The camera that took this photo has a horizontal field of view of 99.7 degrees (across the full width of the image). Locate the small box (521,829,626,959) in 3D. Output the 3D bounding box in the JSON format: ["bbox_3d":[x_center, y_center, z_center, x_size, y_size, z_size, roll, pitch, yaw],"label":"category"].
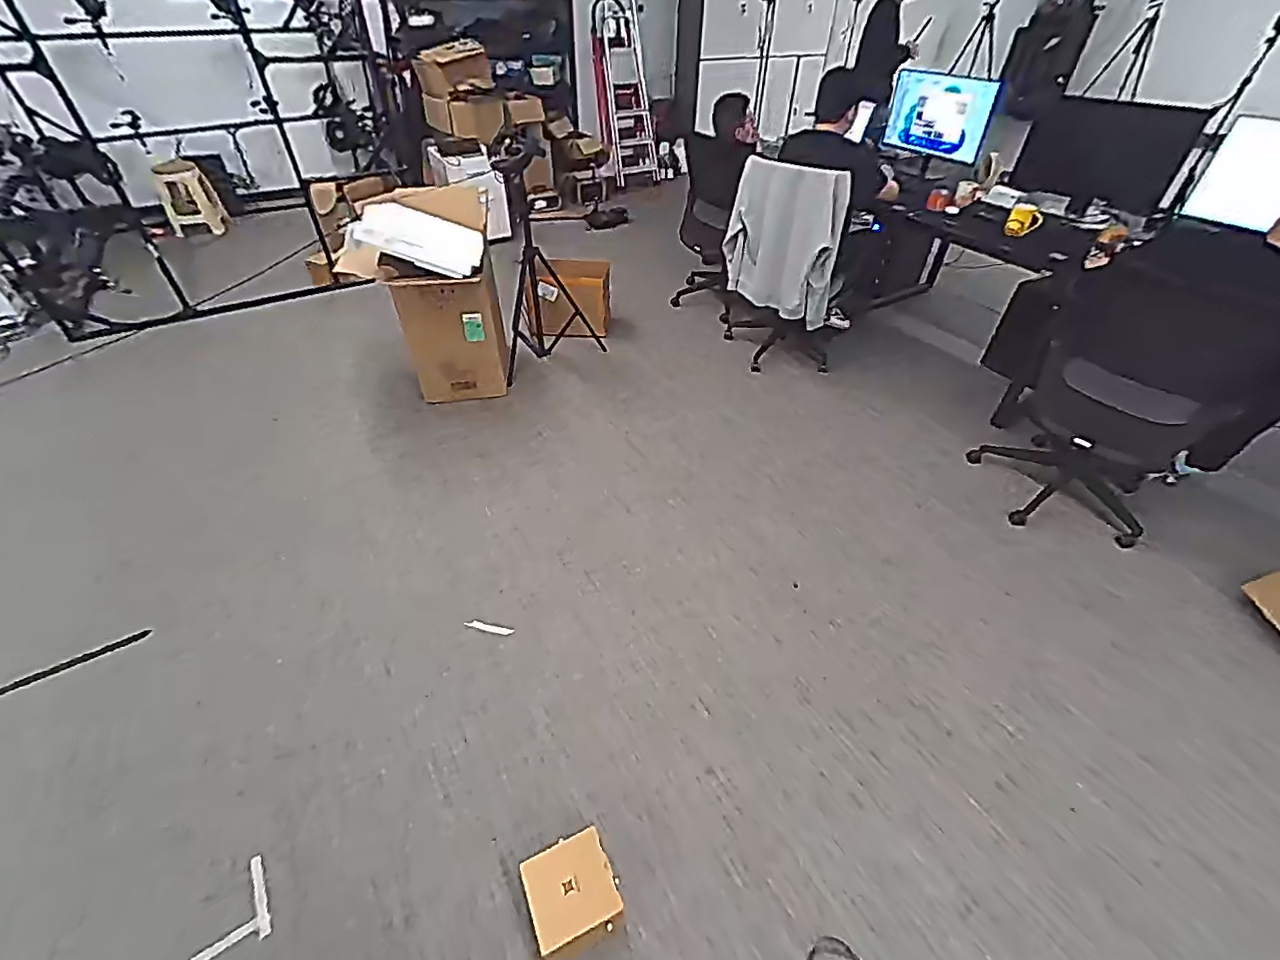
[{"bbox_3d":[-0.139,0.901,1.163,0.179,0.176,0.168,-17,45,-19],"label":"small box"}]
